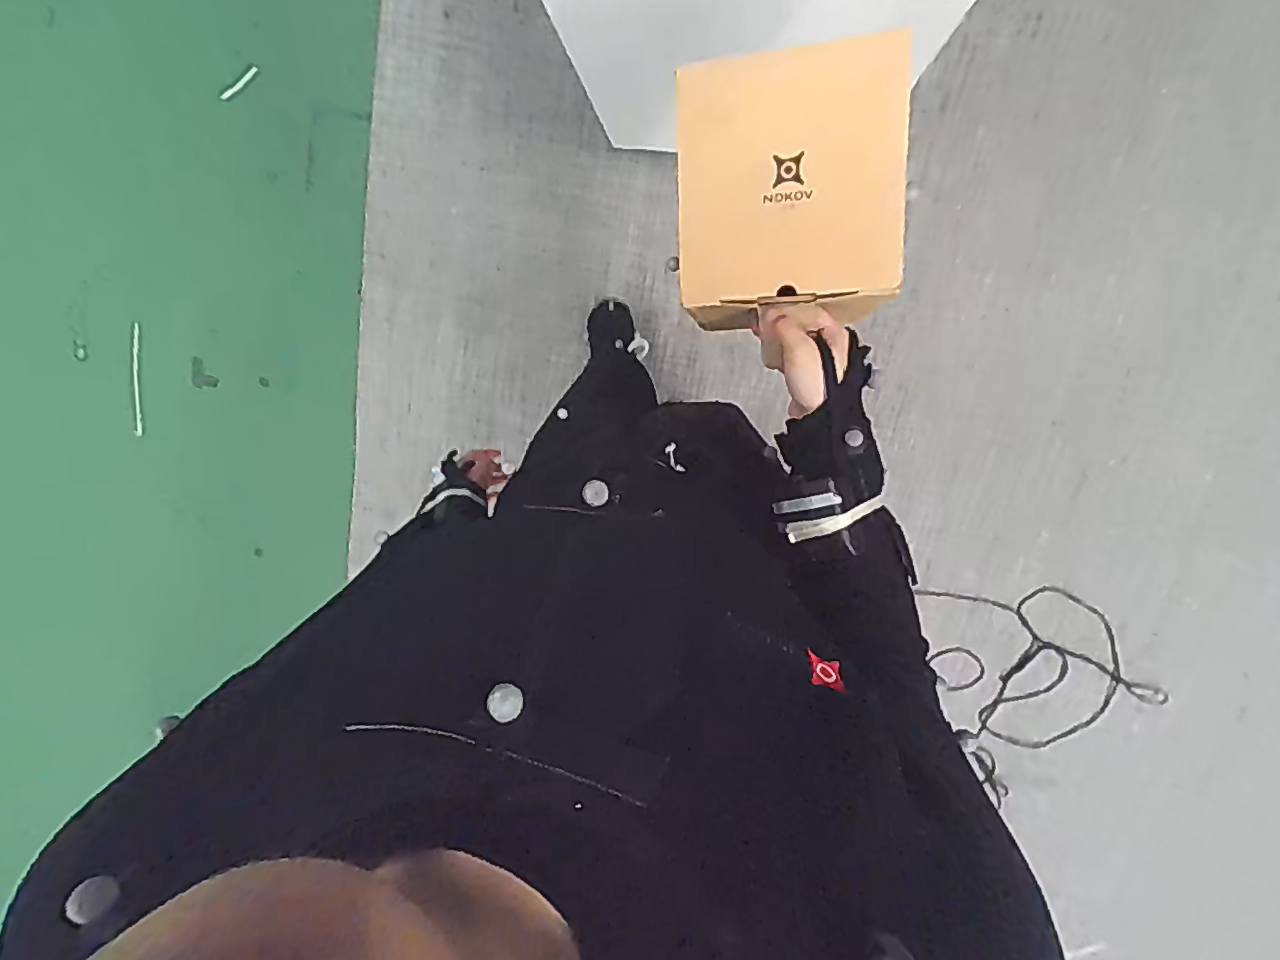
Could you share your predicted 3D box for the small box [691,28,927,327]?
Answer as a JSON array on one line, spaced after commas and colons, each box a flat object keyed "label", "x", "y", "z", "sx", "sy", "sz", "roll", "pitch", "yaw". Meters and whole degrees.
[{"label": "small box", "x": 0.134, "y": -0.237, "z": 0.474, "sx": 0.168, "sy": 0.176, "sz": 0.179, "roll": 0, "pitch": 100, "yaw": 12}]
